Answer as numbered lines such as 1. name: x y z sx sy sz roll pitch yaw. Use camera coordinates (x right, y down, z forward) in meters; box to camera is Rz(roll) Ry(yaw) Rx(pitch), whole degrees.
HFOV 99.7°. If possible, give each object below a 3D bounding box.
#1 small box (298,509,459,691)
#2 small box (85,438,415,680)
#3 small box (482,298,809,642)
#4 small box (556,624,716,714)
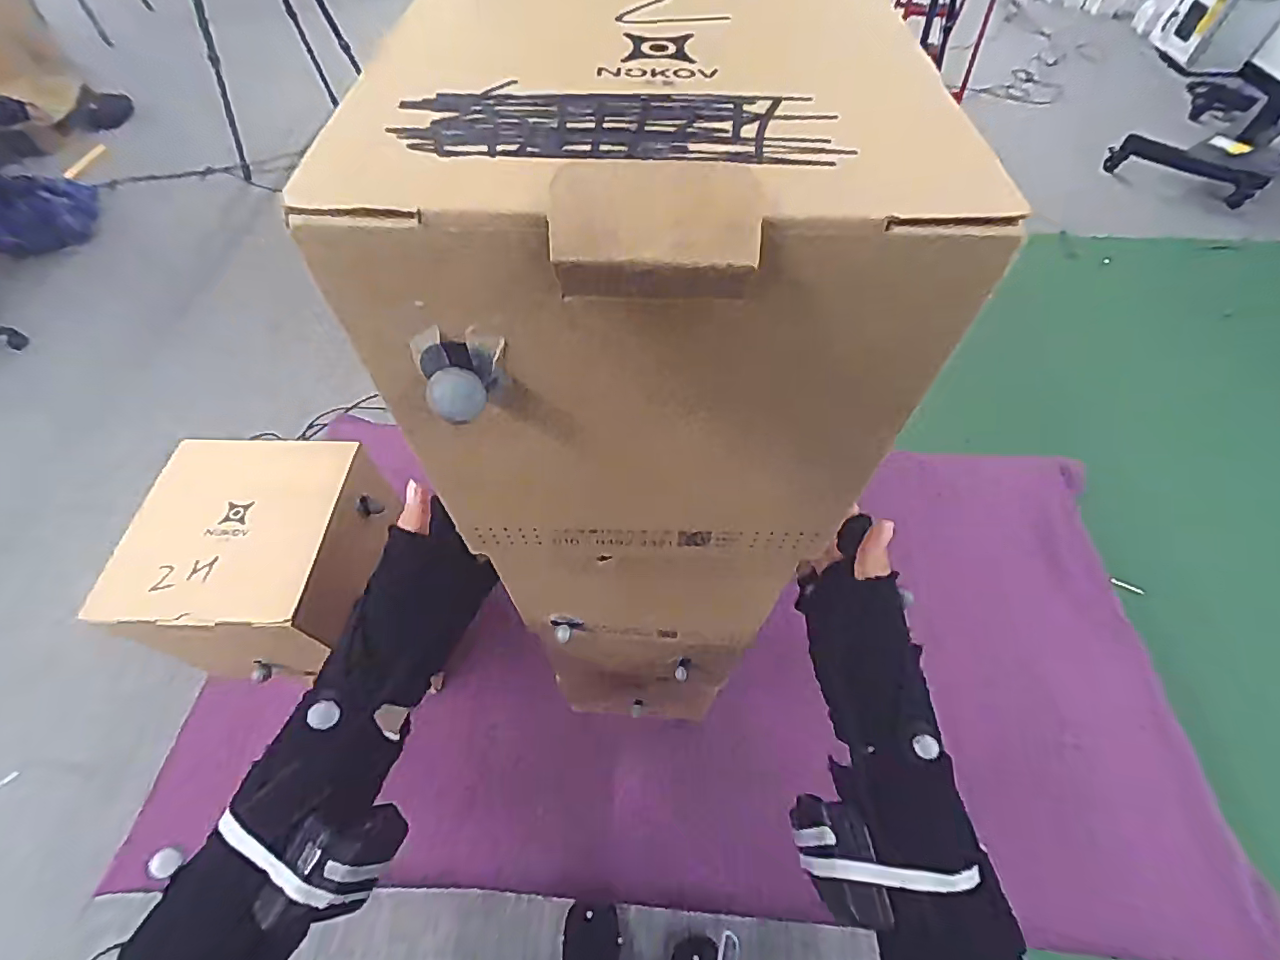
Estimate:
1. small box: -0.335 0.151 0.667 0.168 0.176 0.179 -1 57 -1
2. small box: -0.336 0.079 0.517 0.168 0.176 0.179 1 57 0
3. small box: 0.008 0.001 0.375 0.168 0.176 0.179 4 56 1
4. small box: 0.001 0.177 0.653 0.168 0.176 0.179 0 56 1
